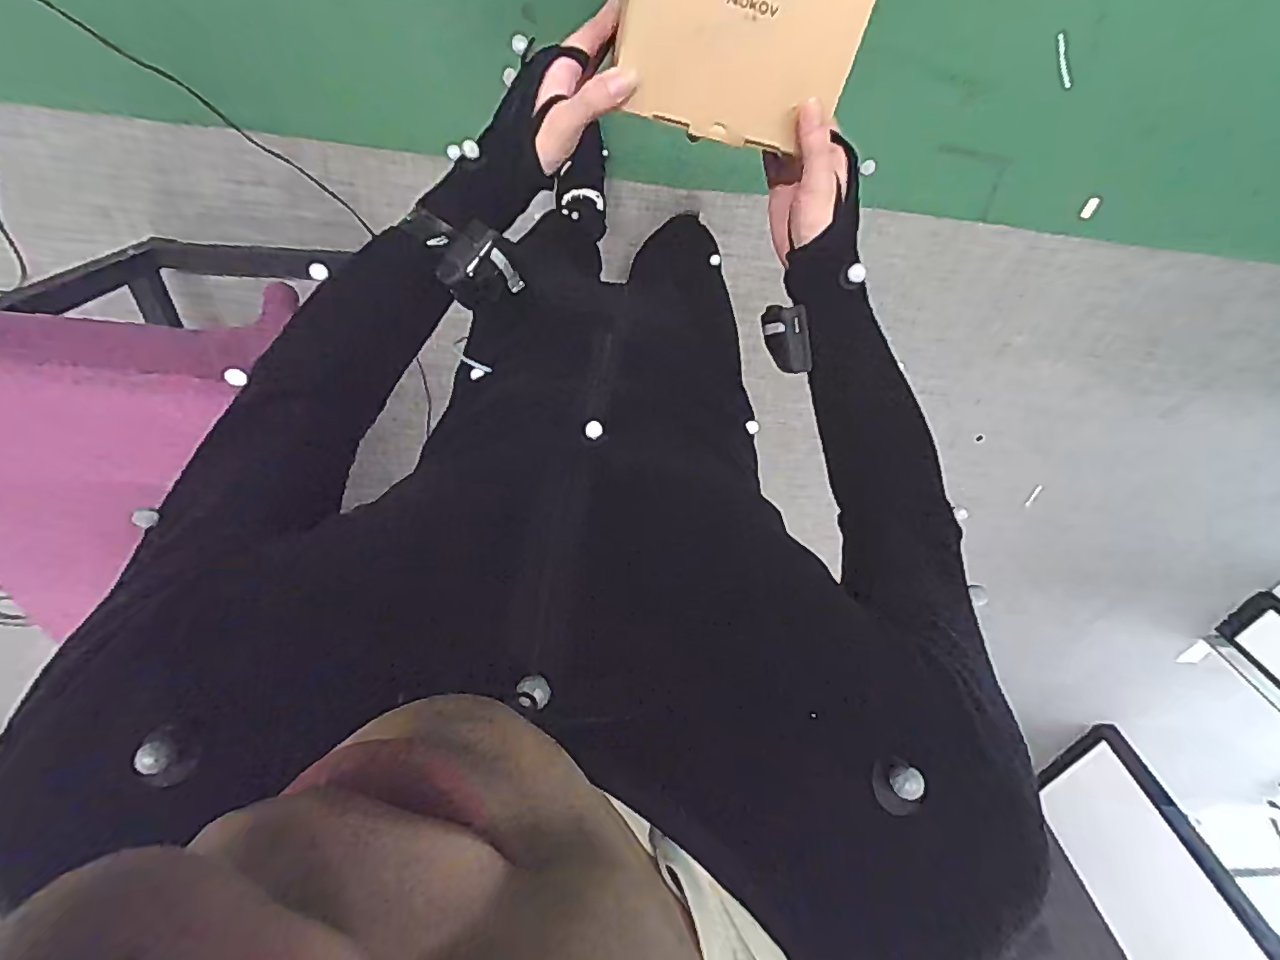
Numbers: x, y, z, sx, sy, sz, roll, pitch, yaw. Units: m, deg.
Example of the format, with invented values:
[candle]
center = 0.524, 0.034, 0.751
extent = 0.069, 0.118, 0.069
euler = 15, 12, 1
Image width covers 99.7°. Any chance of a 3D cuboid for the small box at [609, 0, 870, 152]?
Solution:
[small box]
center = 0.071, -0.385, 0.416
extent = 0.168, 0.176, 0.179
euler = 7, 130, -12
